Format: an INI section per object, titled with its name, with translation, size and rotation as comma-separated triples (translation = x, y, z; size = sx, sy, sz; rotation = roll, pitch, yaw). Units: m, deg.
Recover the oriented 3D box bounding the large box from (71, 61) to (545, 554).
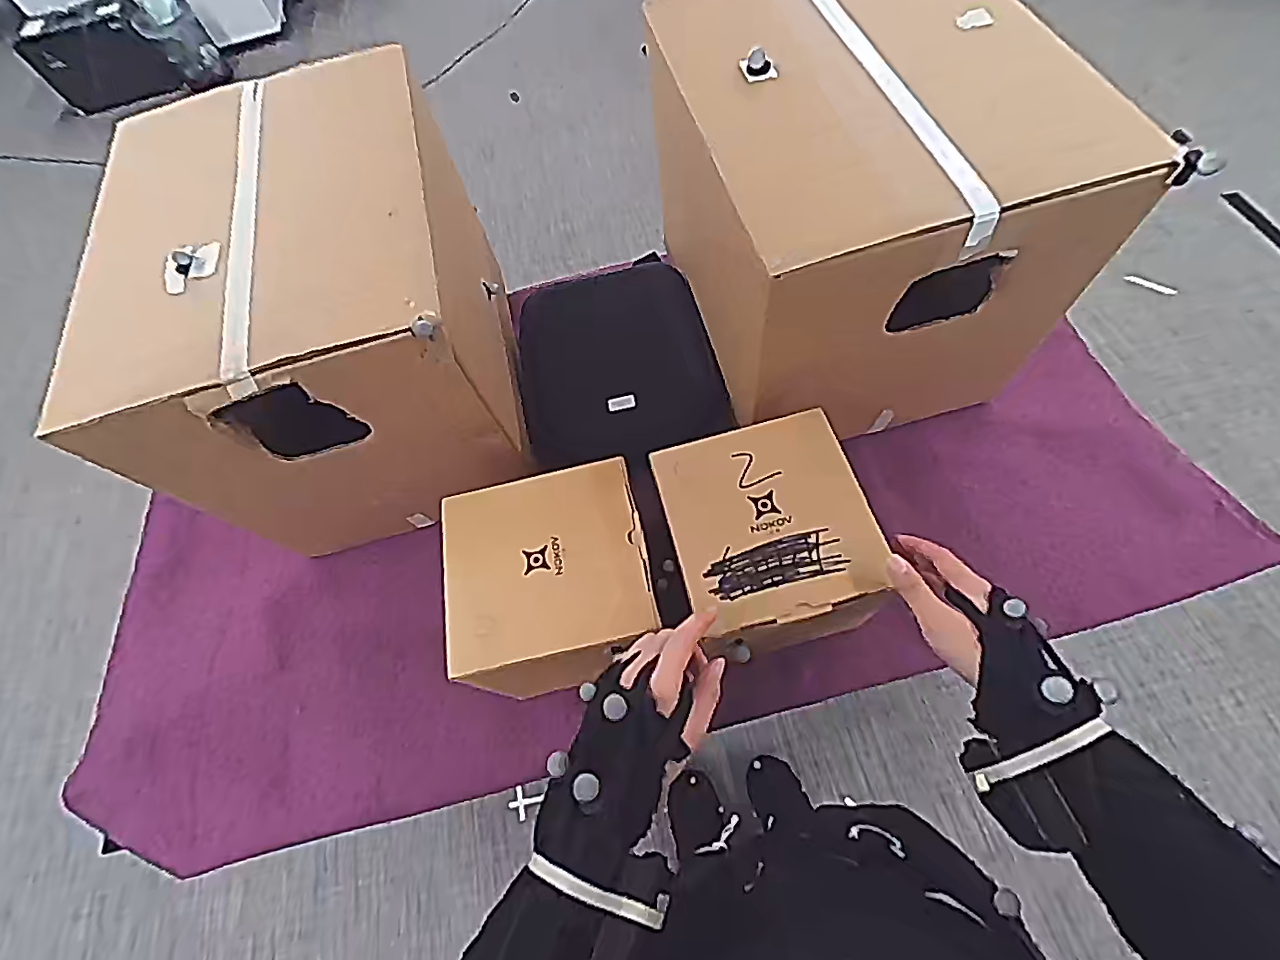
[large box]
translation = -0.330, -0.177, 0.630
size = 0.320, 0.320, 0.408
rotation = -17, 66, -1
